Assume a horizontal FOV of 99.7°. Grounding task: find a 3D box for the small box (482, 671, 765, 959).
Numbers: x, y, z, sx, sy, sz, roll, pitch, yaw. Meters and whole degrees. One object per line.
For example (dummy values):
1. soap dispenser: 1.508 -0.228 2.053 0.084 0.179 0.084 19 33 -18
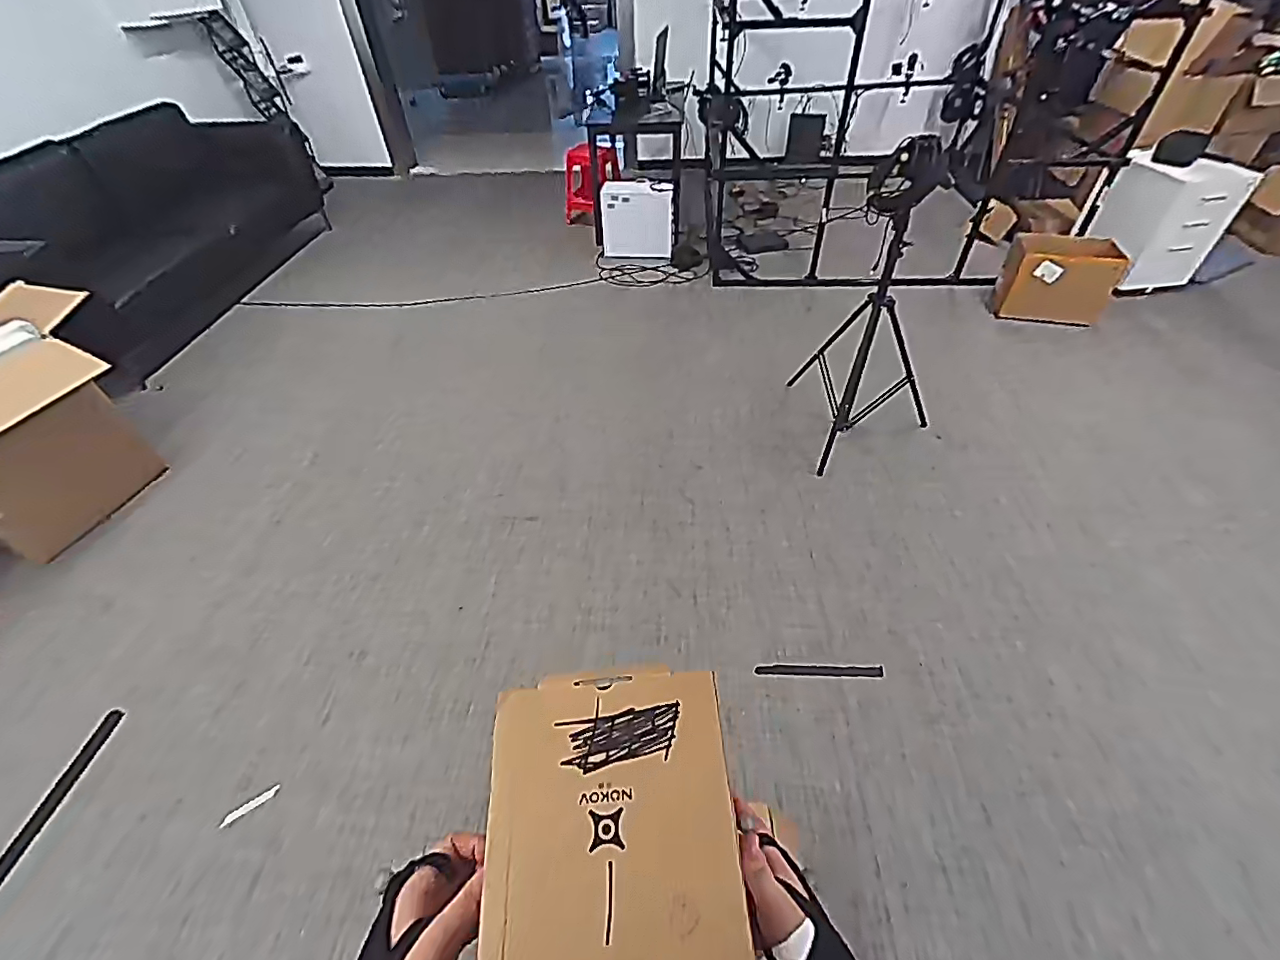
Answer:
1. small box: -0.007 0.265 0.415 0.168 0.176 0.179 -7 54 3
